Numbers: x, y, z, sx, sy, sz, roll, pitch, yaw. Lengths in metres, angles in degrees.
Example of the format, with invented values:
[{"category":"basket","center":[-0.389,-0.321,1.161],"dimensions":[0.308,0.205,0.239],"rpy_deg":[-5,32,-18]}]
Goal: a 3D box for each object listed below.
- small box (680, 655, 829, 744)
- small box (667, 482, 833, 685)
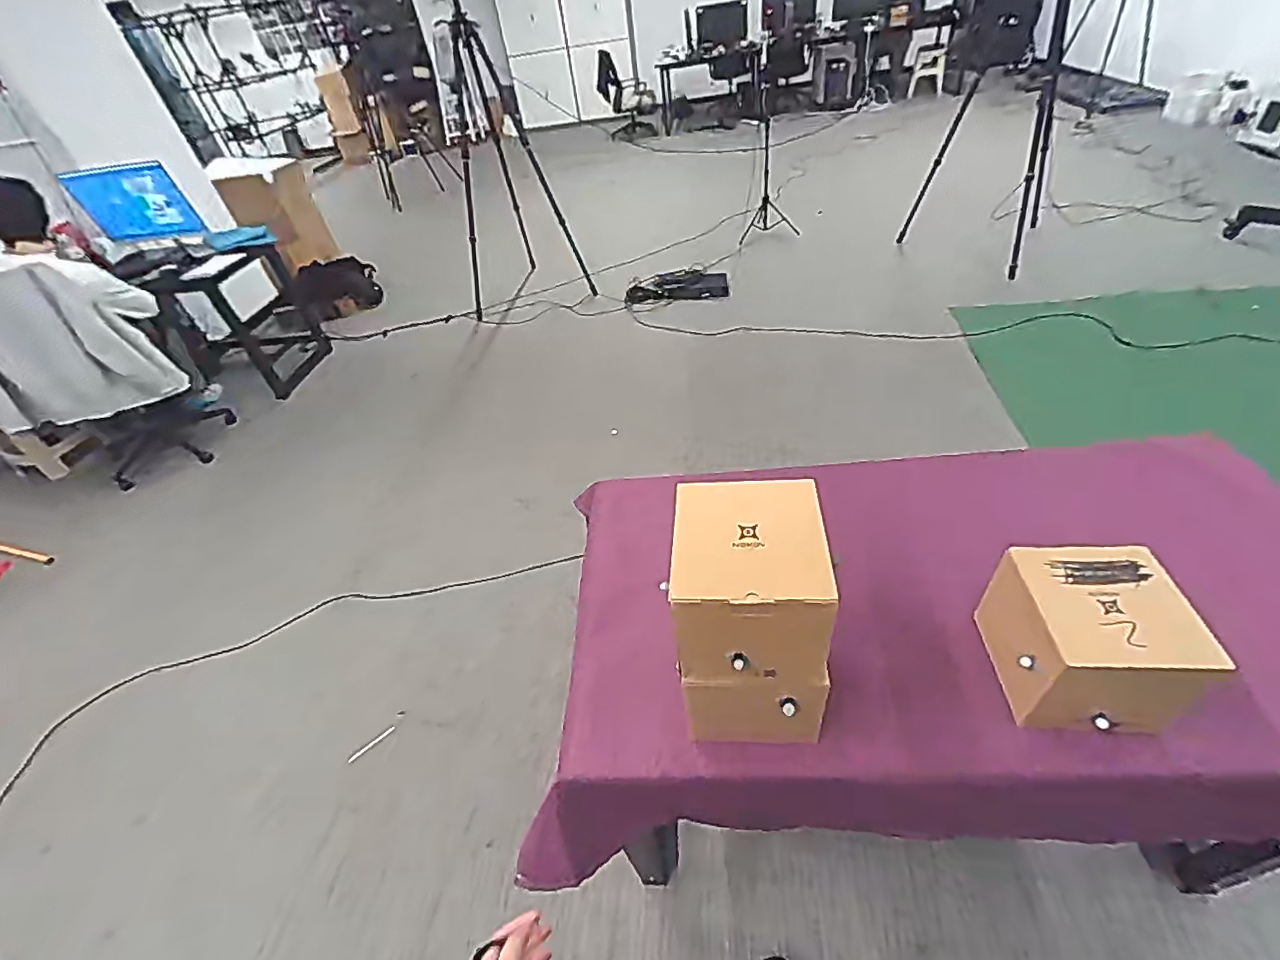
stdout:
[{"category":"small box","center":[0.152,0.248,0.749],"dimensions":[0.179,0.176,0.168],"rpy_deg":[-3,42,9]},{"category":"small box","center":[0.126,0.122,0.648],"dimensions":[0.168,0.176,0.179],"rpy_deg":[-3,43,9]}]
